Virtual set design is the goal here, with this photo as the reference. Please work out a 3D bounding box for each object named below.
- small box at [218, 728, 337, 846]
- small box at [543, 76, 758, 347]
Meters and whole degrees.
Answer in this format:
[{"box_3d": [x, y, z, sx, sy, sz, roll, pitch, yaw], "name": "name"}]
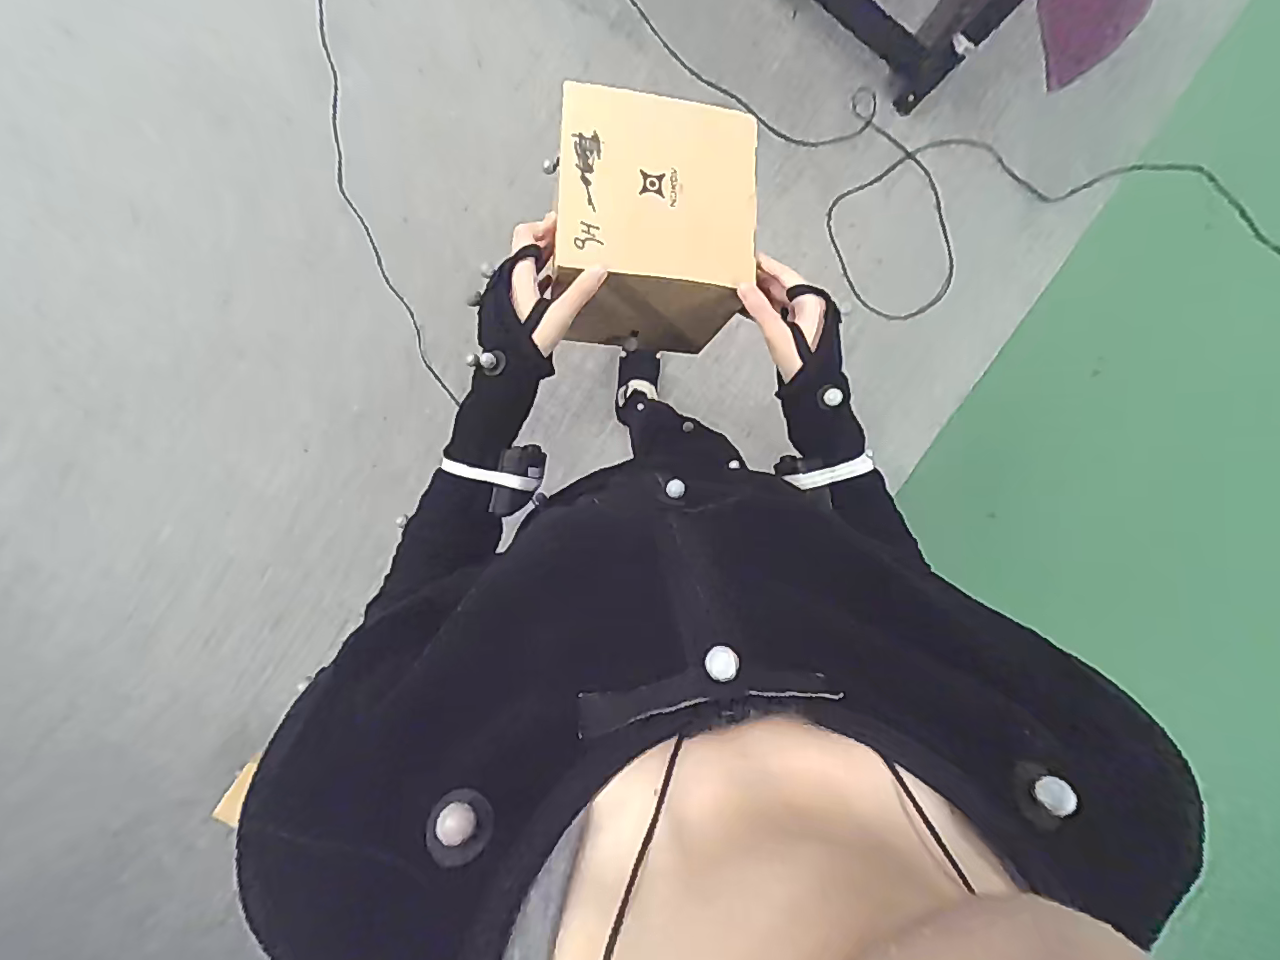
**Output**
[{"box_3d": [-0.955, 0.811, 1.444, 0.168, 0.176, 0.179, 35, 93, -7], "name": "small box"}, {"box_3d": [0.001, -0.243, 0.537, 0.179, 0.176, 0.168, 4, 83, -12], "name": "small box"}]
